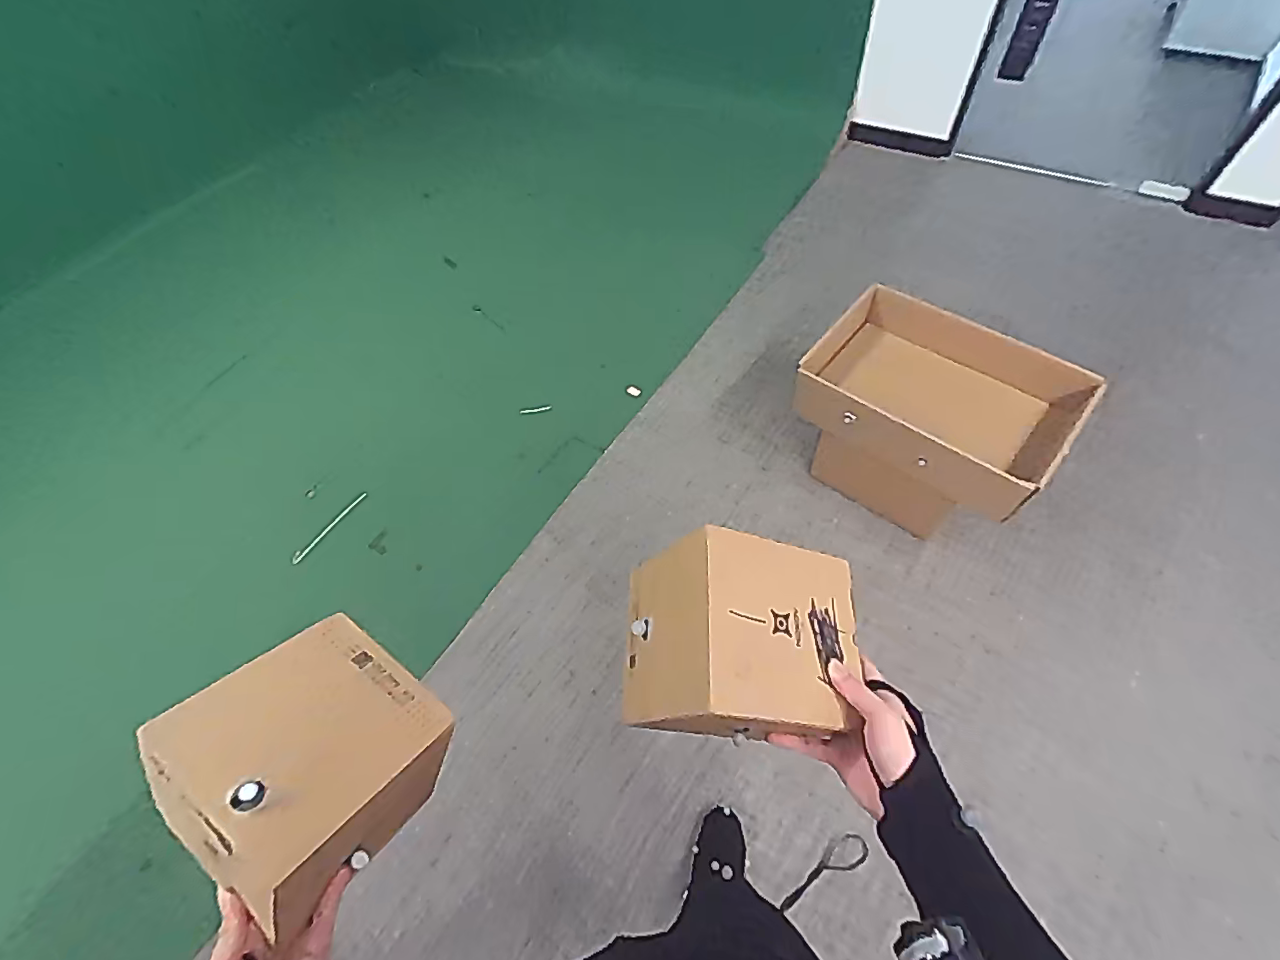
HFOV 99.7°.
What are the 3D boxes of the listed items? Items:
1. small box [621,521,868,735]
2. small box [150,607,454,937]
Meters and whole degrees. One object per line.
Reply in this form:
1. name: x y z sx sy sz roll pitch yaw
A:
1. small box: 0.098 0.164 0.557 0.179 0.176 0.168 16 58 -20
2. small box: -0.299 0.258 0.503 0.168 0.179 0.176 35 35 15
